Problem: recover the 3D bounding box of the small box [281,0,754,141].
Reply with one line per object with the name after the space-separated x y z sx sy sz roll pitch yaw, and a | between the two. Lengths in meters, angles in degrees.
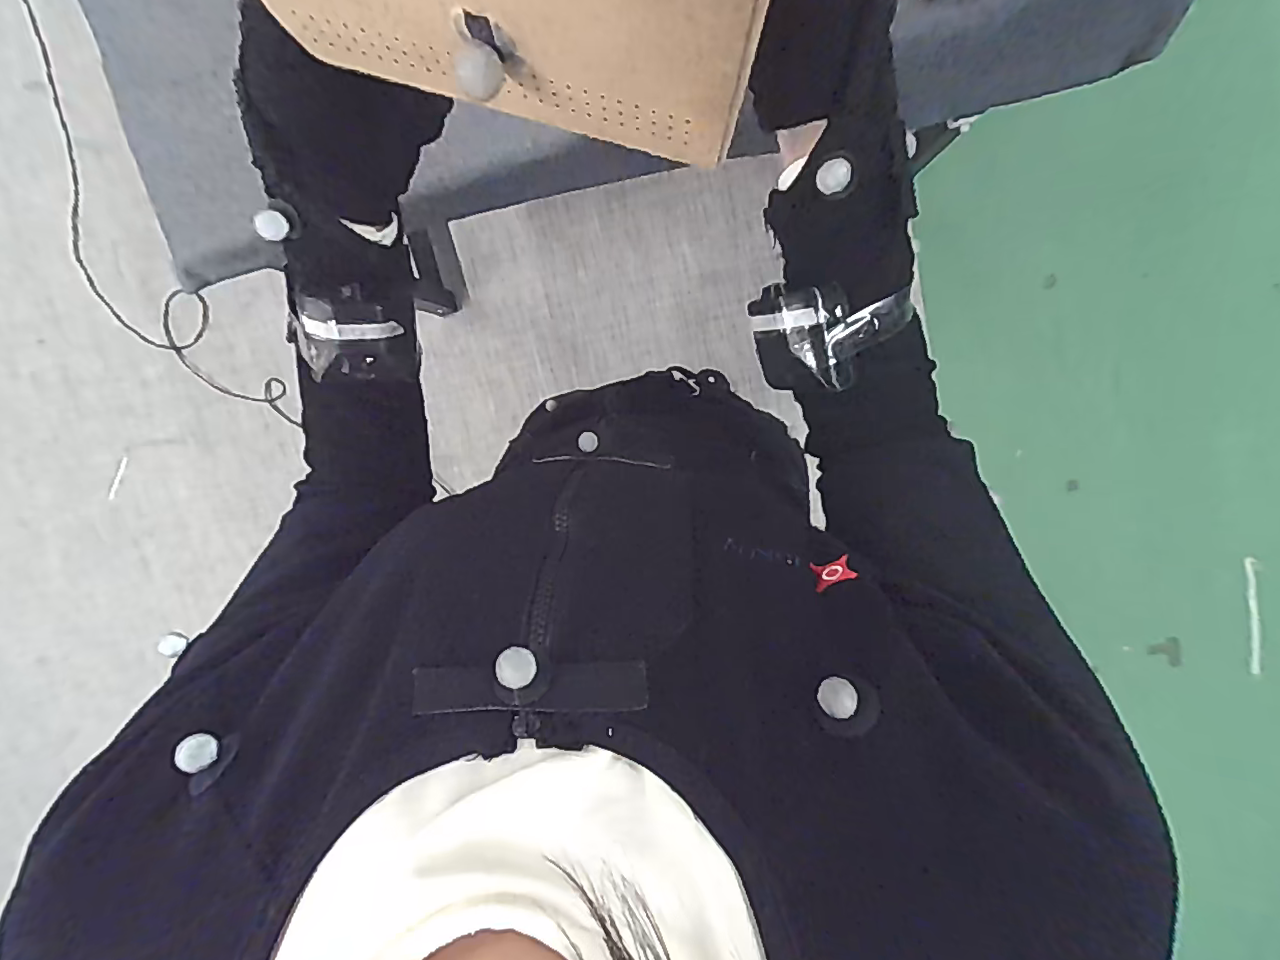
-0.032 -0.229 0.141 0.179 0.176 0.168 15 91 0 | small box
